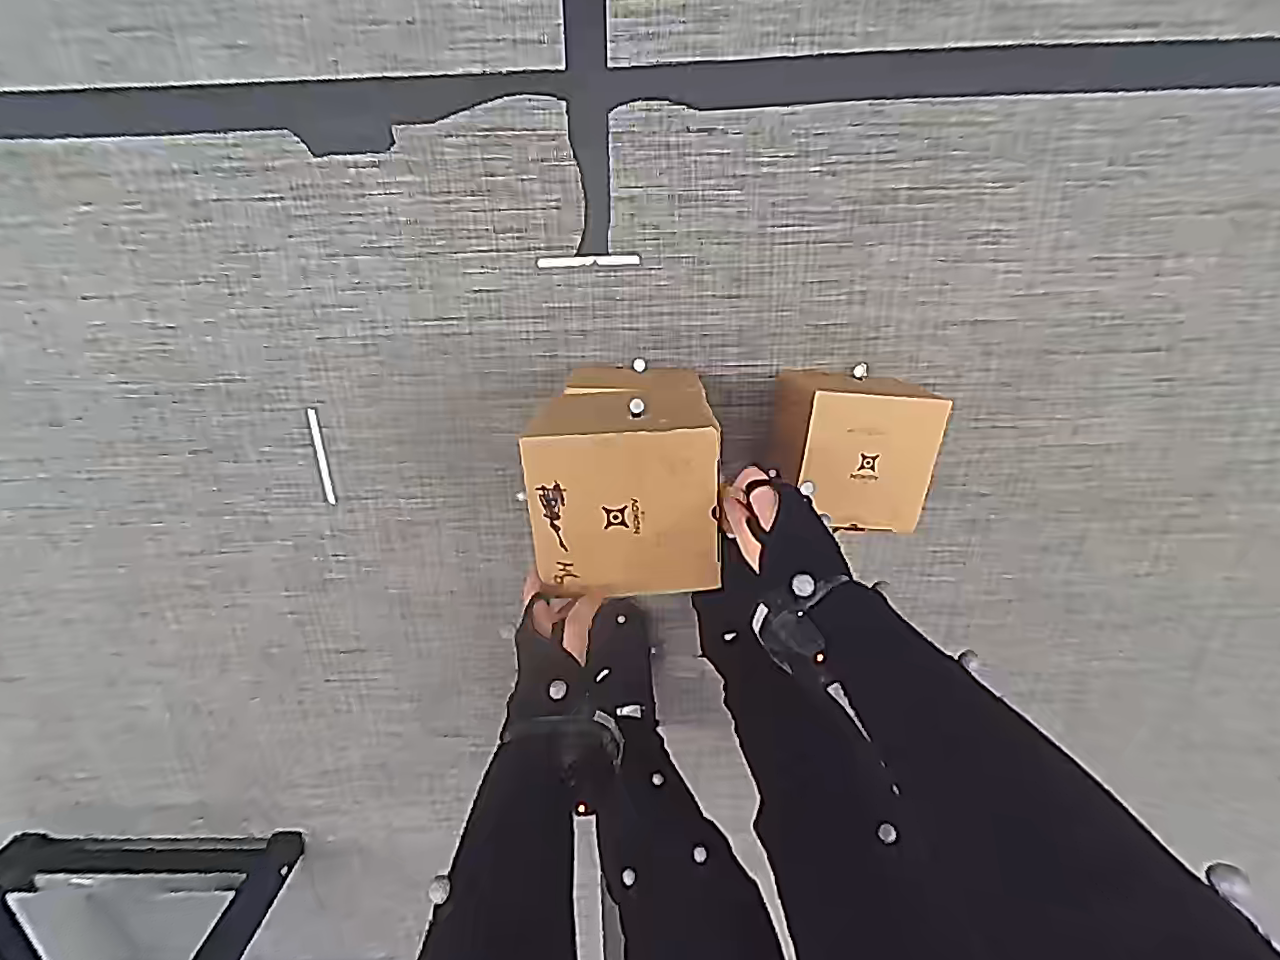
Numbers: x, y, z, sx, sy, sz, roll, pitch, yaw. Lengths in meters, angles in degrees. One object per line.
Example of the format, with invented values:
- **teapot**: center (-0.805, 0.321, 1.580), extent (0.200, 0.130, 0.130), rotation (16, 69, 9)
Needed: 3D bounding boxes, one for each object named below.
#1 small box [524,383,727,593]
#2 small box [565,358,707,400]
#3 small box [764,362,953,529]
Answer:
- **small box**: center (-0.012, -0.002, 0.562), extent (0.179, 0.176, 0.168), rotation (-3, 111, 0)
- **small box**: center (-0.008, -0.059, 0.717), extent (0.168, 0.176, 0.179), rotation (1, 110, -2)
- **small box**: center (0.274, -0.053, 0.727), extent (0.168, 0.176, 0.179), rotation (4, 110, -3)
